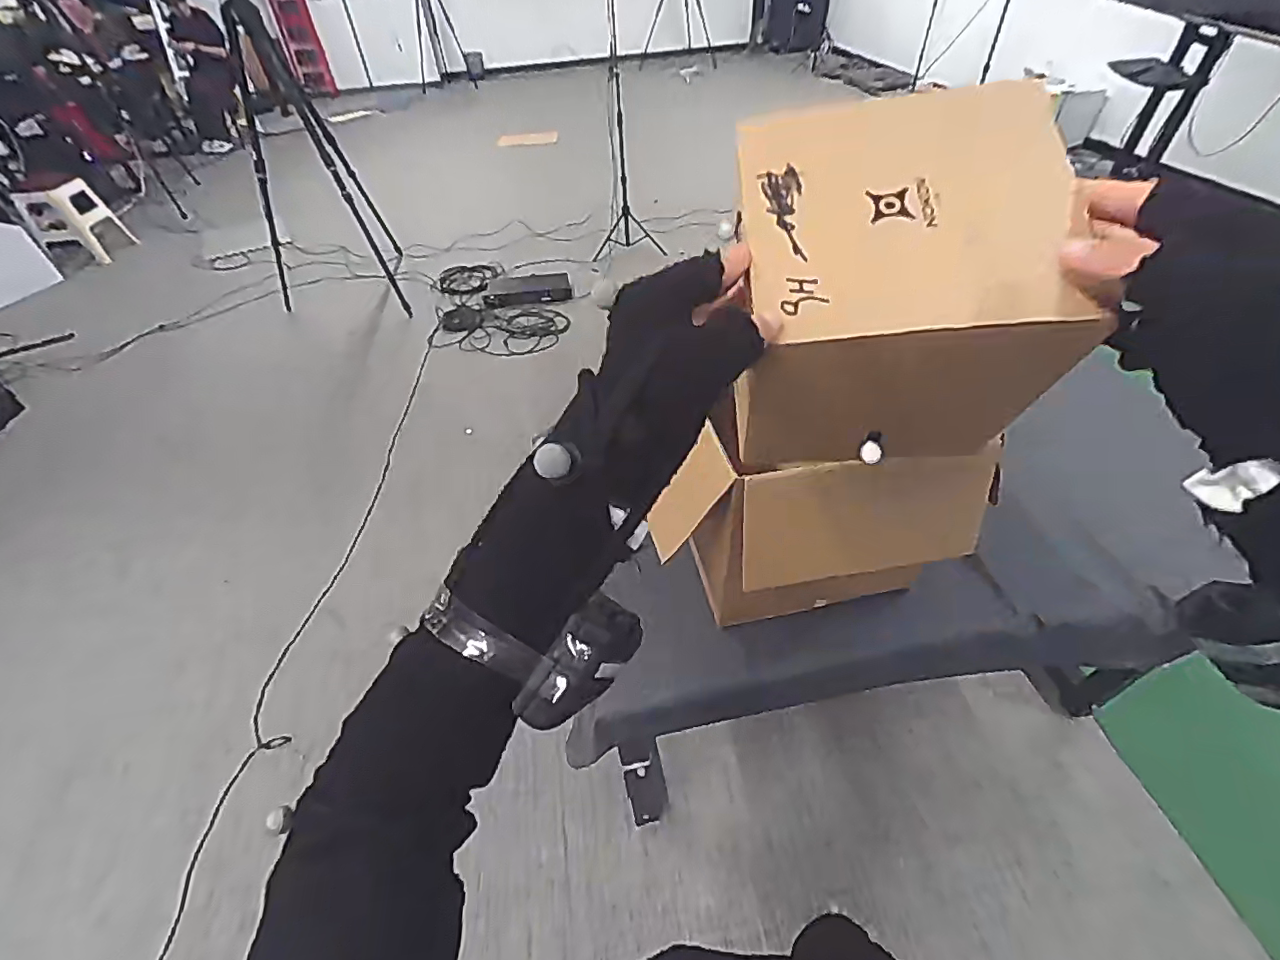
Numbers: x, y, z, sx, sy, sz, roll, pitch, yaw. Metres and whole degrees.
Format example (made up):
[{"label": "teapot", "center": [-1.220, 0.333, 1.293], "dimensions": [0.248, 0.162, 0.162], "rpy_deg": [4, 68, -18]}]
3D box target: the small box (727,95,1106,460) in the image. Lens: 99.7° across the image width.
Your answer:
[{"label": "small box", "center": [0.155, -0.120, 0.376], "dimensions": [0.179, 0.176, 0.168], "rpy_deg": [-2, 70, 7]}]
